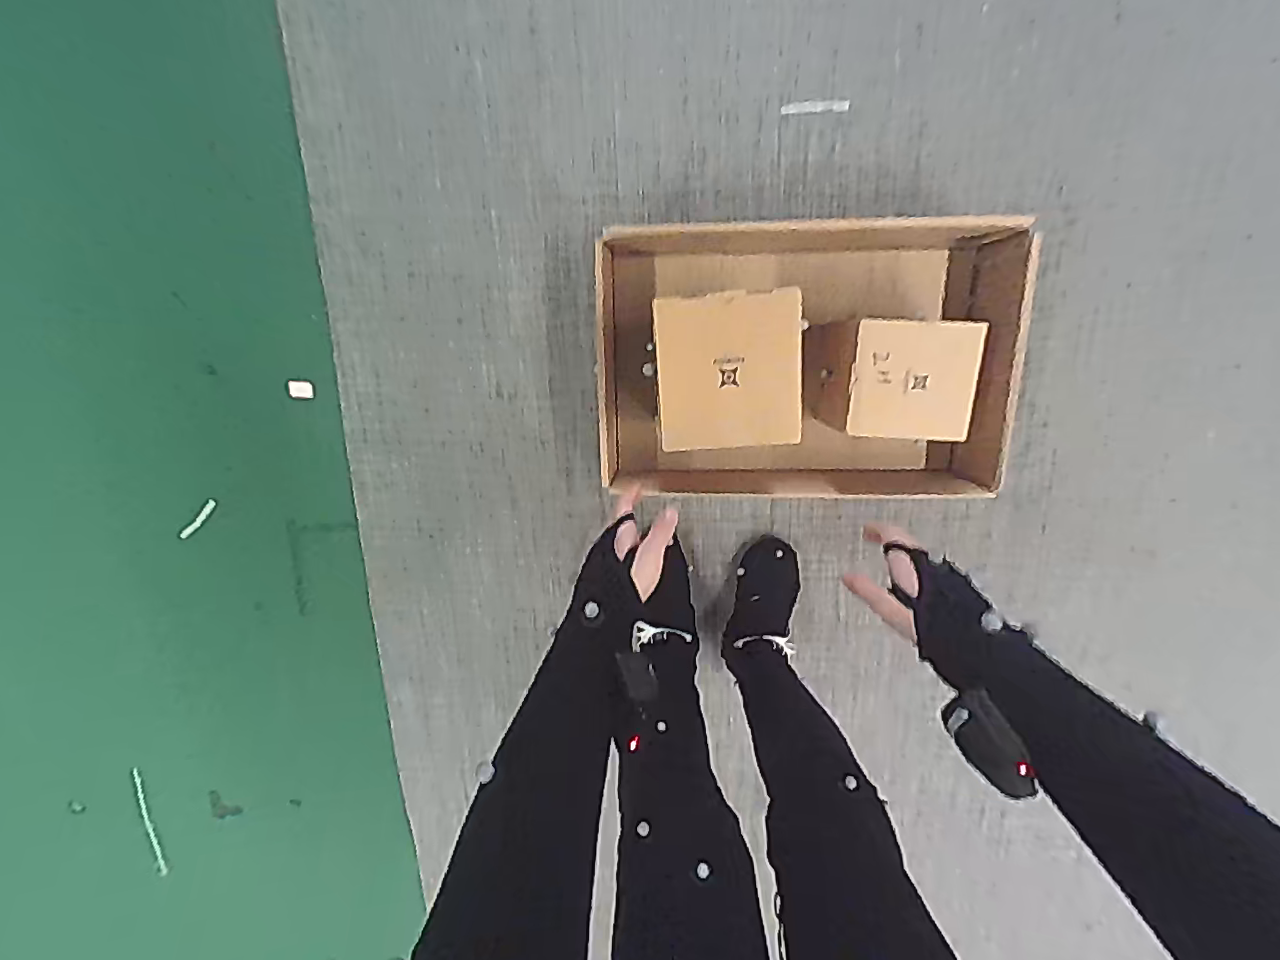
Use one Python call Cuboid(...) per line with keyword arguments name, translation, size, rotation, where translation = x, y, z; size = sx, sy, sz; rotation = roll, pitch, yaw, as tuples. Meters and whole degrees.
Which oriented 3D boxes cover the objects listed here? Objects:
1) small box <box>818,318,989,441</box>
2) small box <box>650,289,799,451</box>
Cuboid(name="small box", translation=(0.392, -0.160, 0.837), size=(0.179, 0.176, 0.168), rotation=(3, 104, 4))
Cuboid(name="small box", translation=(0.104, -0.142, 0.695), size=(0.168, 0.176, 0.179), rotation=(-4, 103, 4))
